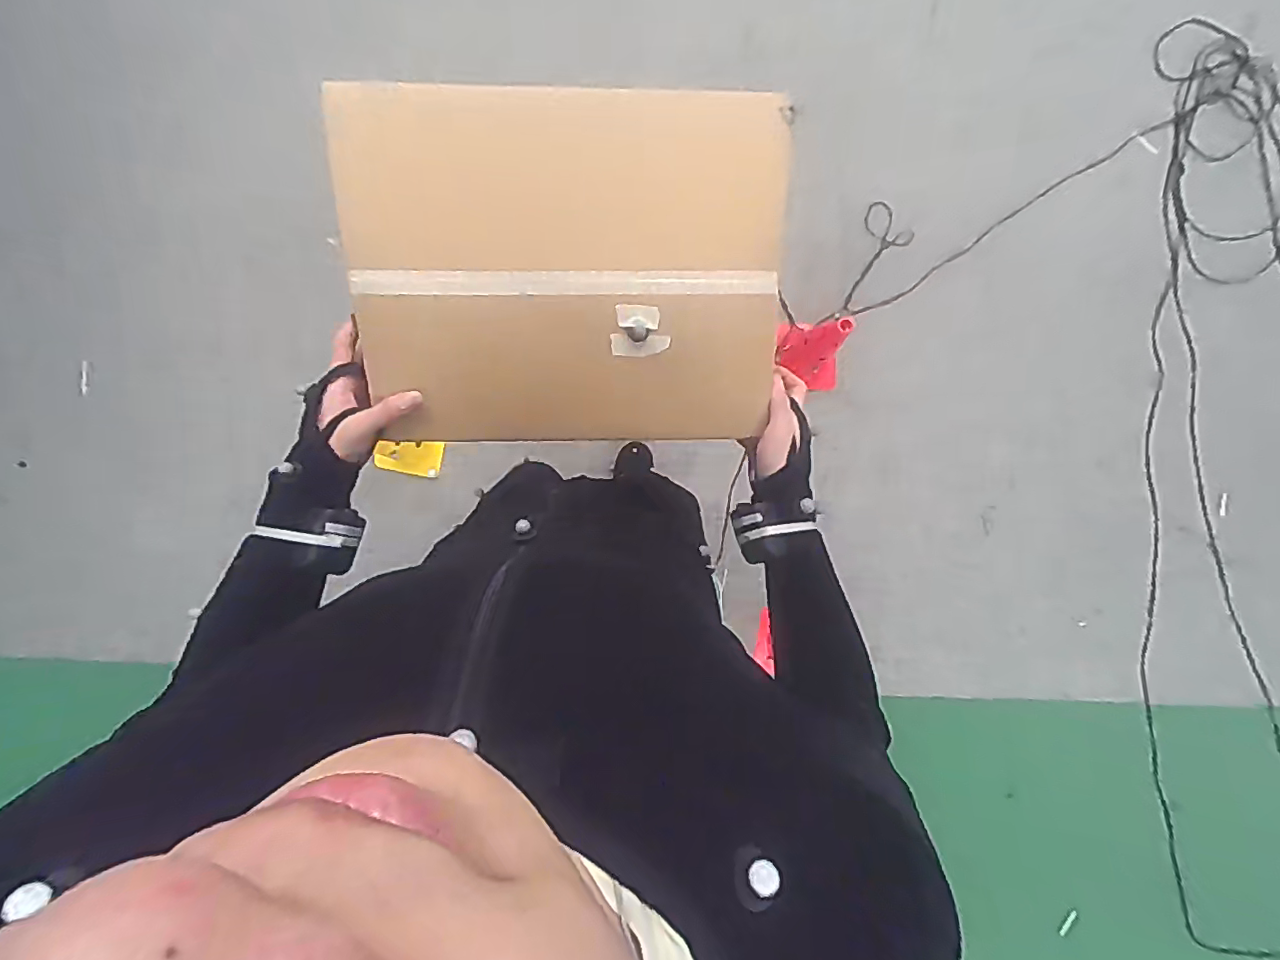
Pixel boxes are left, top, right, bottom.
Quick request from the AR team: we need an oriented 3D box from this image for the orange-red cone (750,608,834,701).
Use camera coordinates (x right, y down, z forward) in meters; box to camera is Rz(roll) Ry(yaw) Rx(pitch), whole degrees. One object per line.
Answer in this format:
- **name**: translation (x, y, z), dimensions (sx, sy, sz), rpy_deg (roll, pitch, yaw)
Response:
- **orange-red cone**: translation (0.446, 0.500, 1.463), dimensions (0.199, 0.360, 0.198), rpy_deg (10, 92, -1)

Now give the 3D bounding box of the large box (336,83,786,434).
- **large box**: translation (-0.075, -0.246, 0.663), dimensions (0.408, 0.320, 0.320), rpy_deg (-1, 109, -4)
